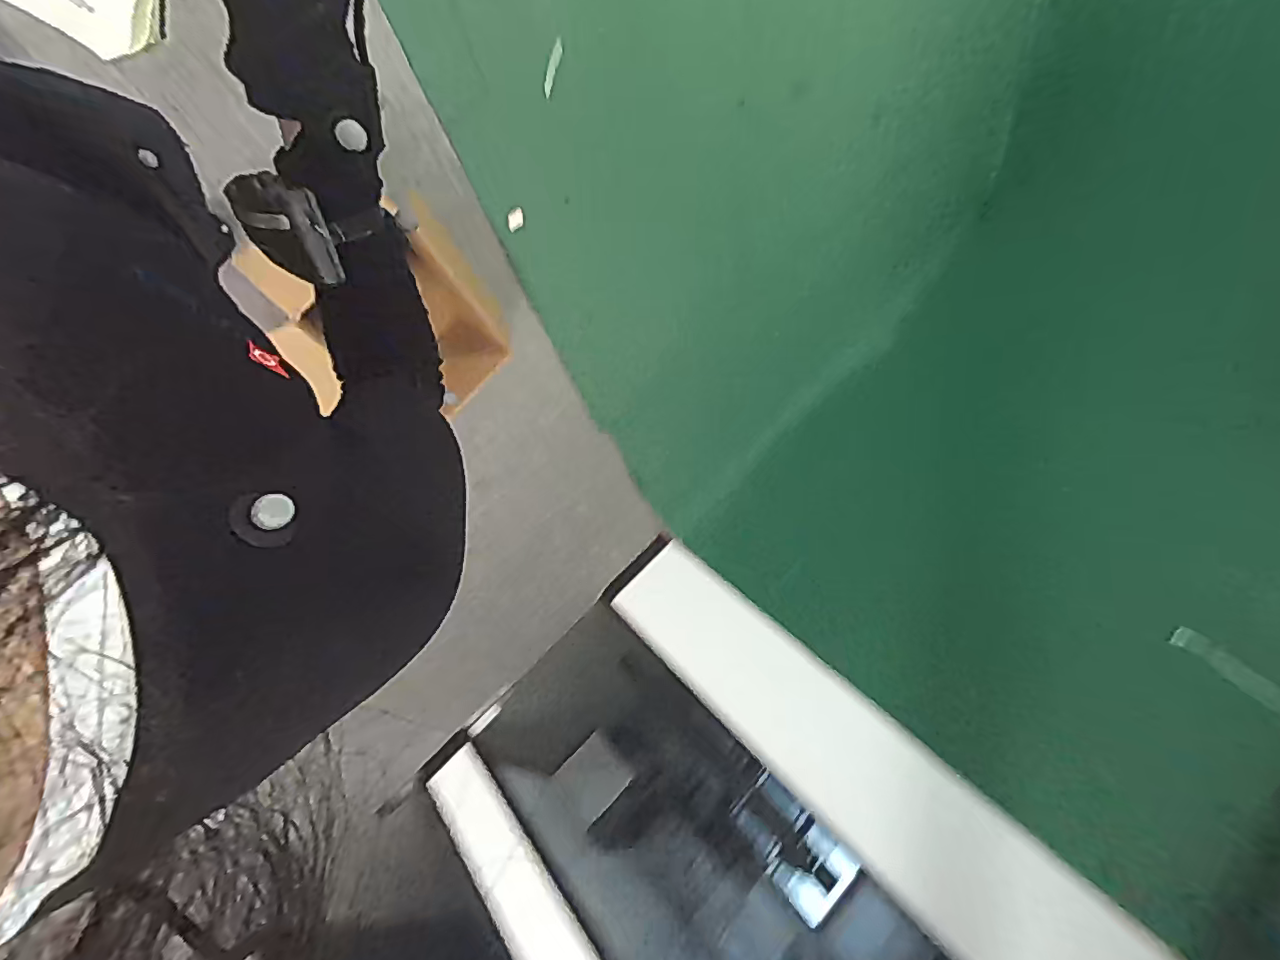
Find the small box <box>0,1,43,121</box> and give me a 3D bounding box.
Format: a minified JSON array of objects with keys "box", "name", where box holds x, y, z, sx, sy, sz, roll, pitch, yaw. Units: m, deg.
[{"box":[-1.020,-0.641,0.757,0.179,0.176,0.168,31,106,-38],"name":"small box"}]
